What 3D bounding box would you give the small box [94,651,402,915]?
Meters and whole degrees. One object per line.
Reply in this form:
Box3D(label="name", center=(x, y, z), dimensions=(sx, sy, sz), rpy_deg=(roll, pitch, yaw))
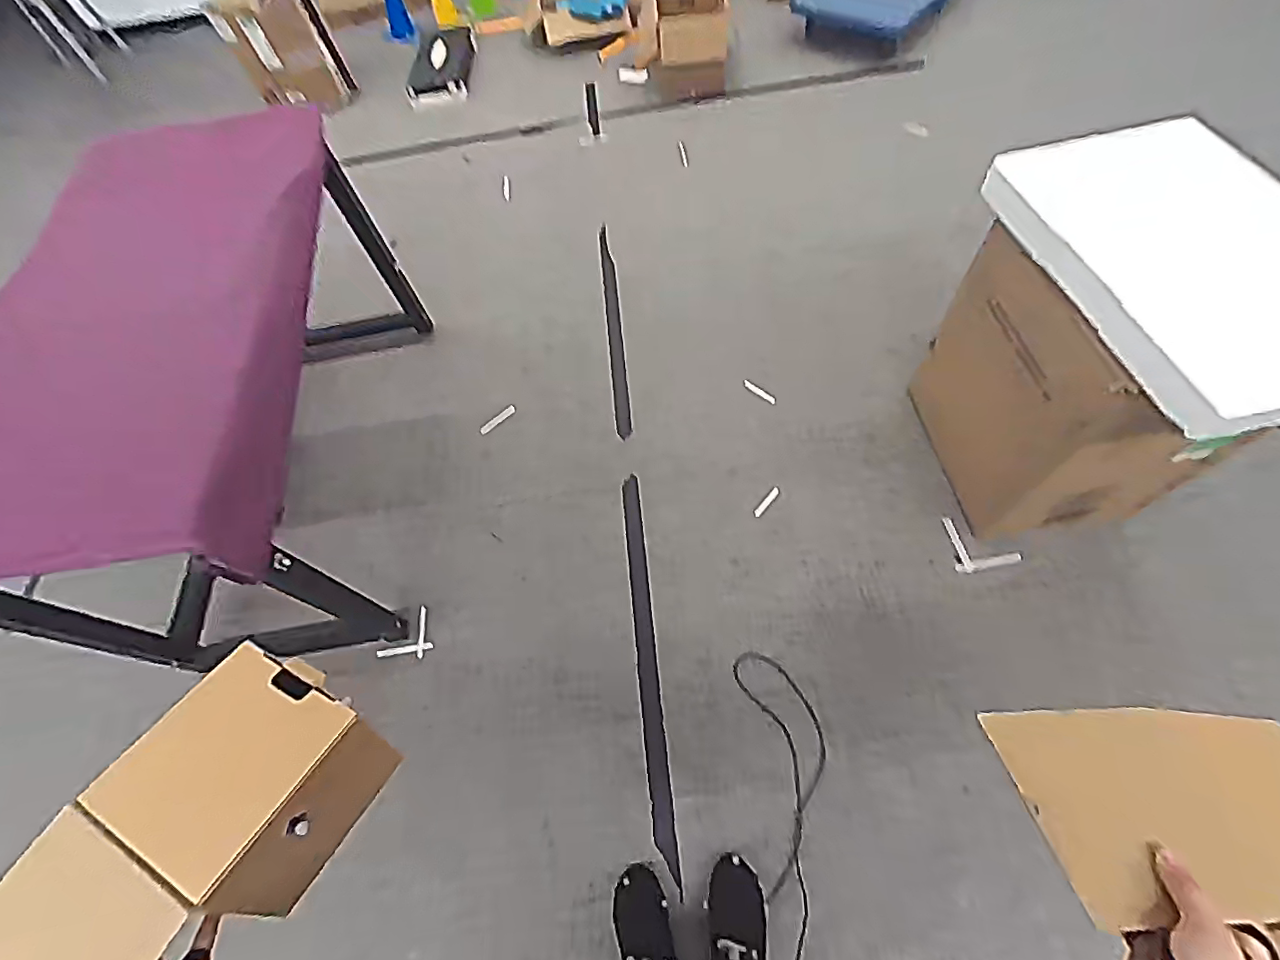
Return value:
Box3D(label="small box", center=(-0.392, 0.326, 0.580), dimensions=(0.168, 0.176, 0.179), rpy_deg=(23, 51, 17))
